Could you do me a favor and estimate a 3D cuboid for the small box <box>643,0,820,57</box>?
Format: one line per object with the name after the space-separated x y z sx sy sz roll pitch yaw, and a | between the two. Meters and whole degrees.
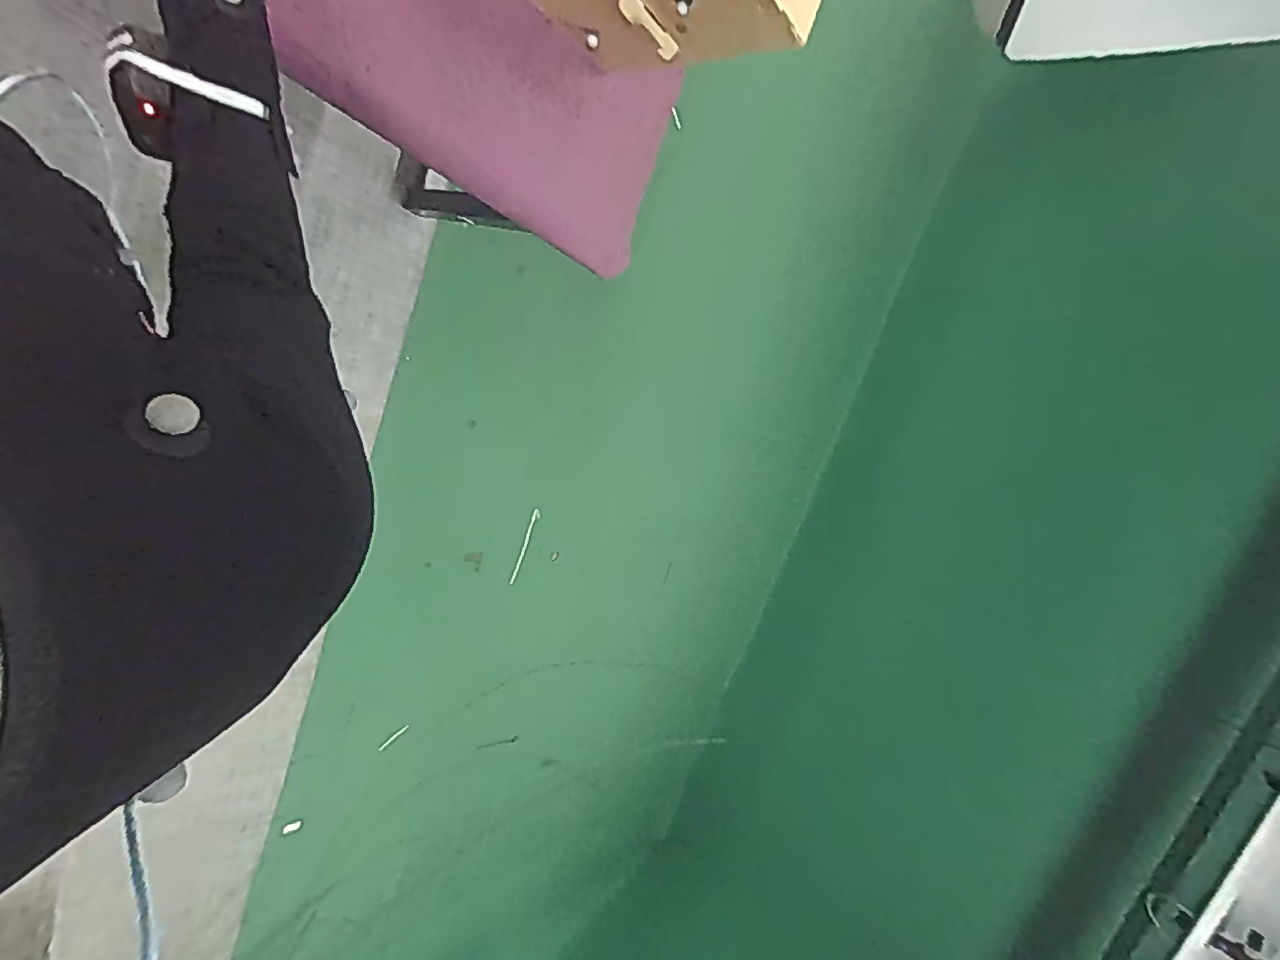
0.106 -0.612 0.593 0.168 0.176 0.179 6 108 -51 | small box

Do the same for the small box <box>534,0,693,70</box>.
-0.014 -0.668 0.688 0.168 0.176 0.179 6 107 -50 | small box
